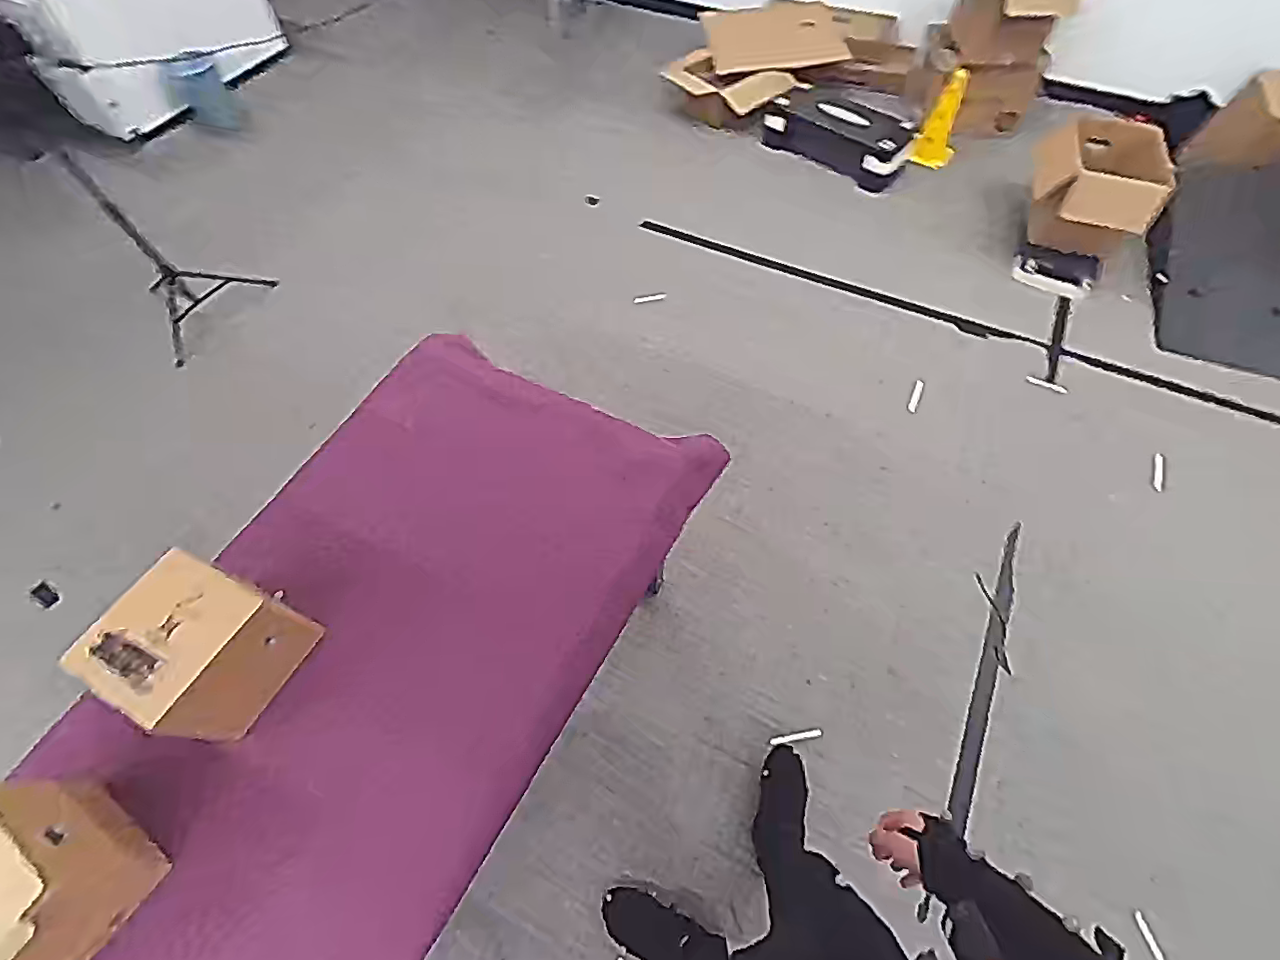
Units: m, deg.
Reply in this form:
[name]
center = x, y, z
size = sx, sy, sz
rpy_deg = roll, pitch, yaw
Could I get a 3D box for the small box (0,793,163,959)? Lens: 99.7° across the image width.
[small box]
center = -0.711, 0.478, 0.609
size = 0.179, 0.176, 0.168
rpy_deg = 29, 65, 15
